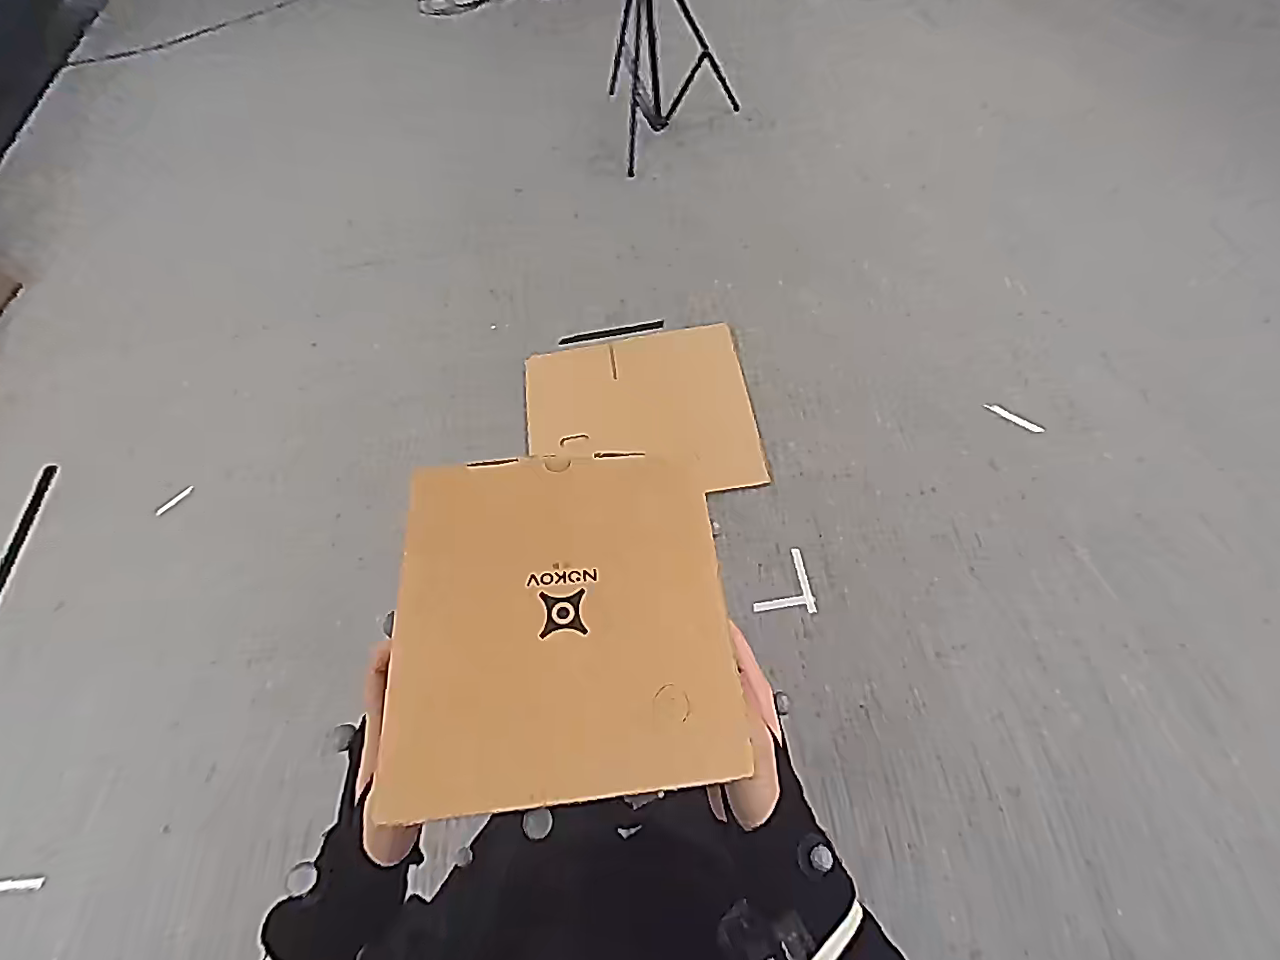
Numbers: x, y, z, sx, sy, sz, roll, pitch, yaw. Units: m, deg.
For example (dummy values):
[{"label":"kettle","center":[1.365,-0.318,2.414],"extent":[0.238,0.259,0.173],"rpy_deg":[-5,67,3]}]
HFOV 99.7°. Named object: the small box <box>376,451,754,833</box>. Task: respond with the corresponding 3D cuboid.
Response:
[{"label":"small box","center":[-0.041,0.103,0.339],"extent":[0.168,0.176,0.179],"rpy_deg":[-4,60,-6]}]
